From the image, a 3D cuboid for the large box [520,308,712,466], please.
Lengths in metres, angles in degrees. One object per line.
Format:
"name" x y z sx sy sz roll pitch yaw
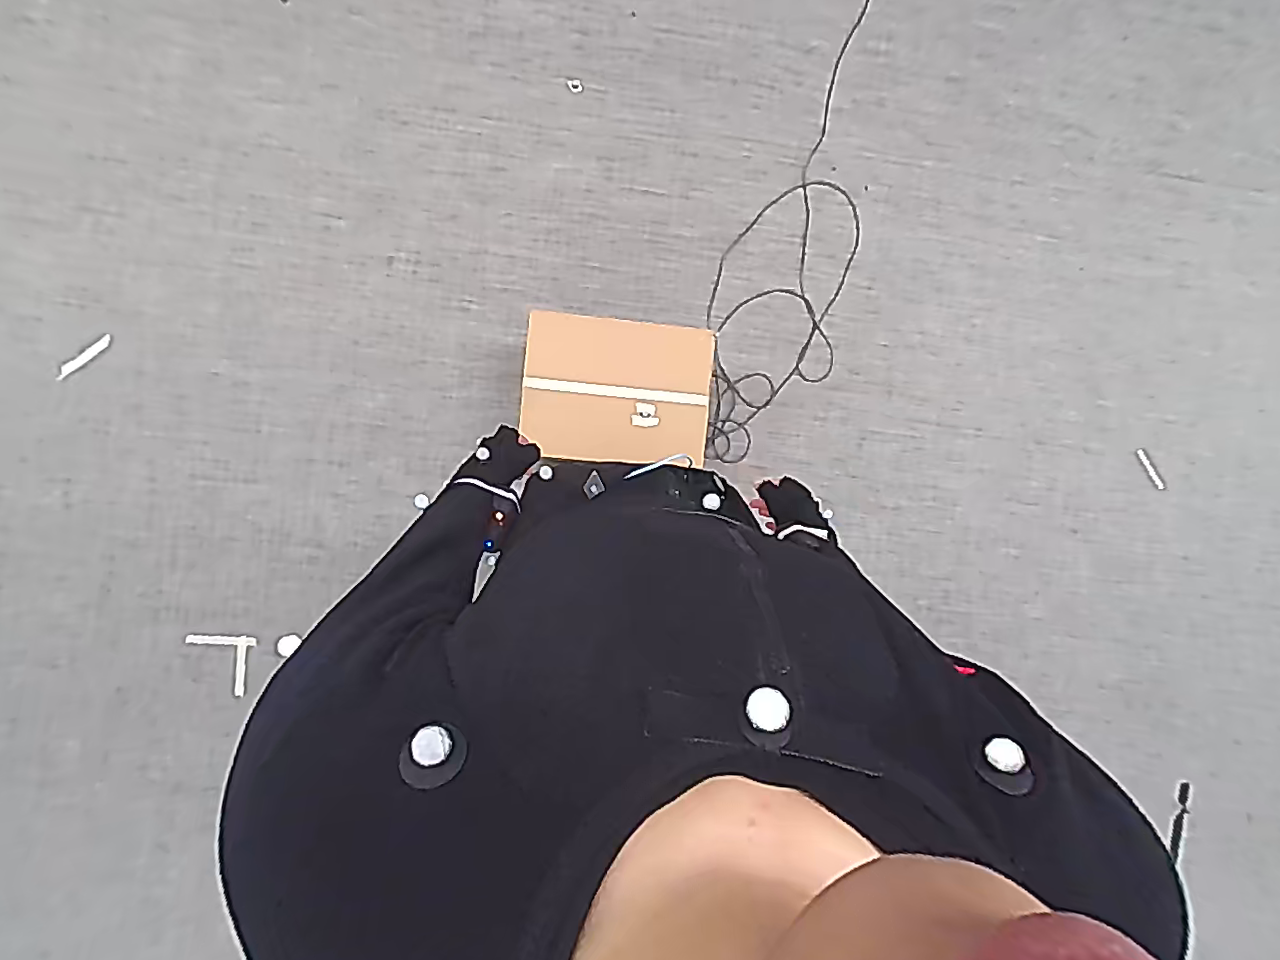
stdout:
"large box" -0.063 -0.205 1.327 0.408 0.320 0.320 6 91 -4
